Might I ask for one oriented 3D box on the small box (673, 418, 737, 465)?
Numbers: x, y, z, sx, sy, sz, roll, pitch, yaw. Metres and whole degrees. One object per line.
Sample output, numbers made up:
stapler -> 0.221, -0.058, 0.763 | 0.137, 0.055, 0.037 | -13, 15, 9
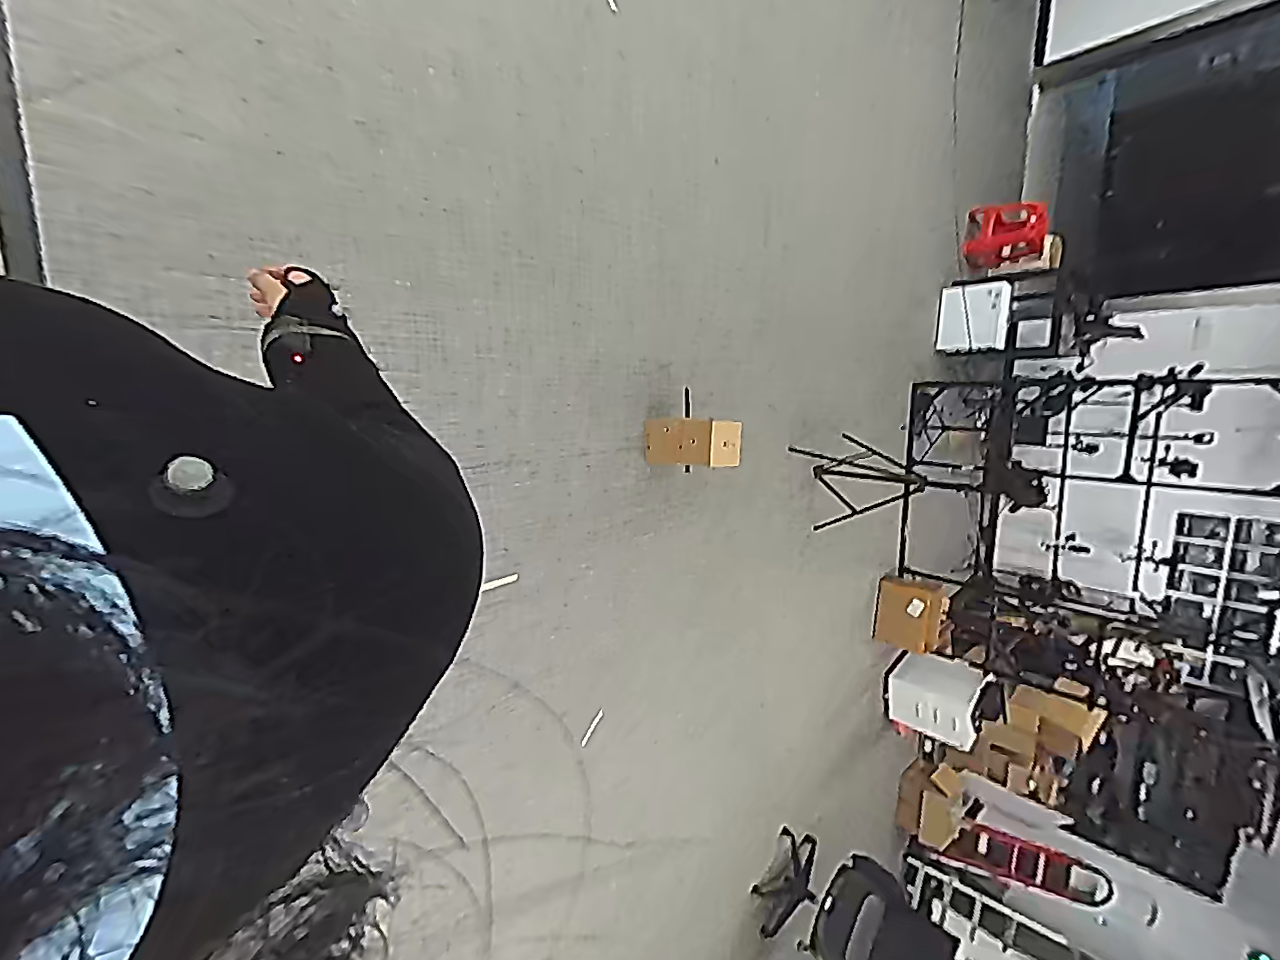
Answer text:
small box -> 0.239, -0.144, 2.011 | 0.179, 0.176, 0.168 | -4, 100, -45
